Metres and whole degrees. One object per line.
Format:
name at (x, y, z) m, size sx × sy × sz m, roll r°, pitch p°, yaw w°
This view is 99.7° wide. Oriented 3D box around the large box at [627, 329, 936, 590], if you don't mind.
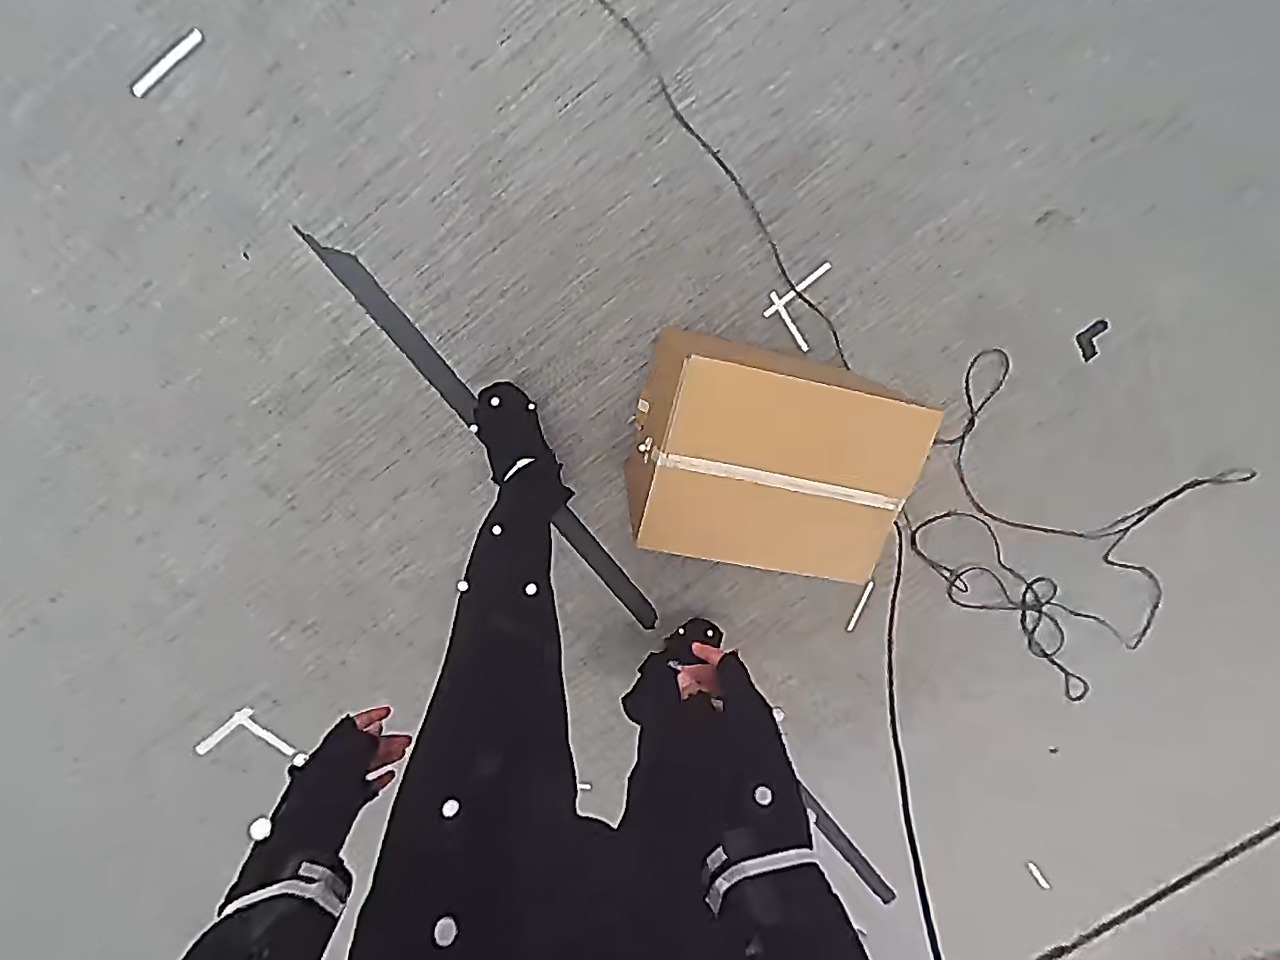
large box at (0.208, -0.047, 0.961) m, size 0.408 × 0.320 × 0.320 m, roll 13°, pitch 113°, yaw -8°
